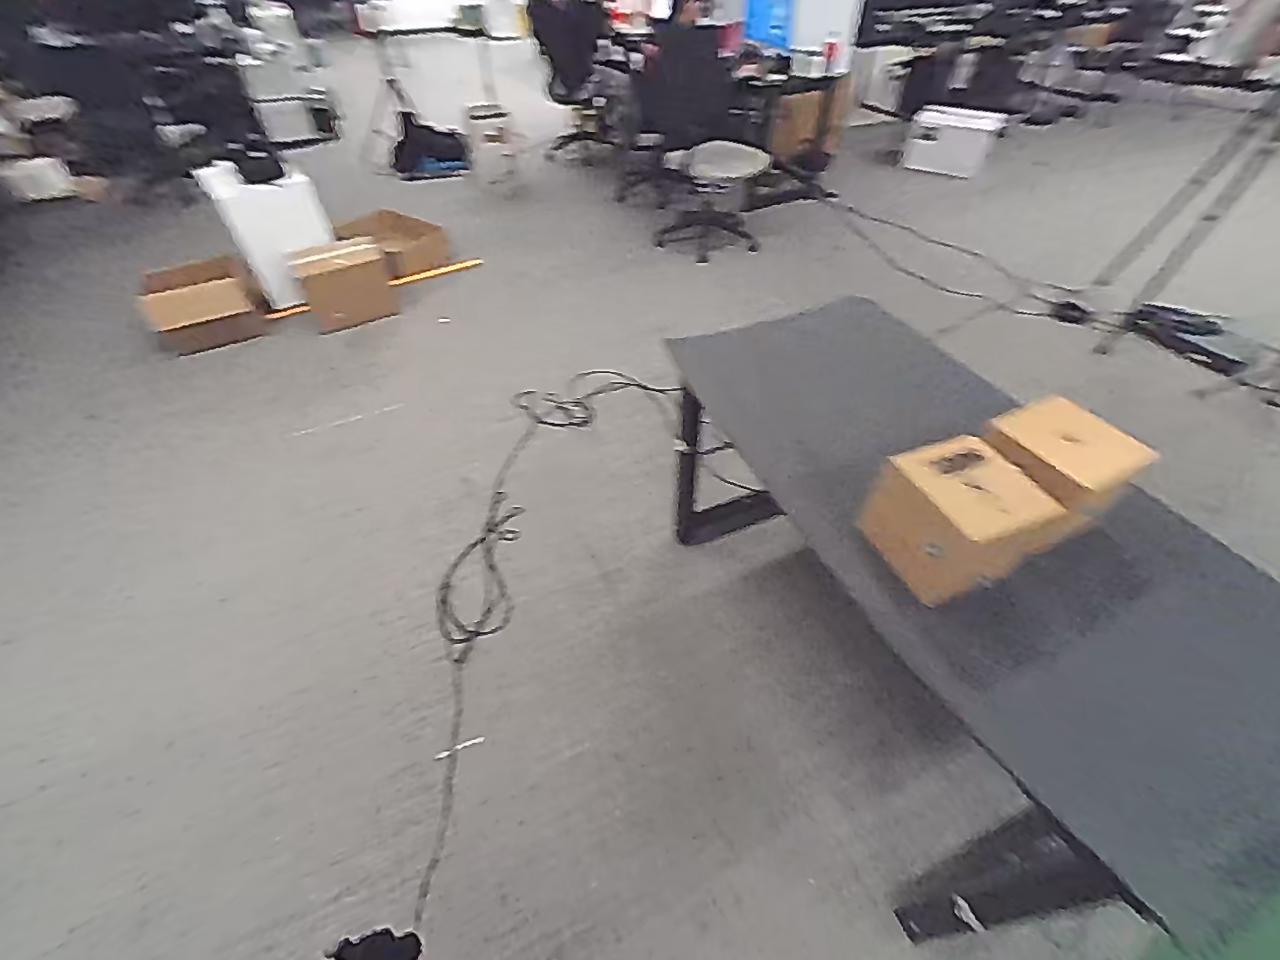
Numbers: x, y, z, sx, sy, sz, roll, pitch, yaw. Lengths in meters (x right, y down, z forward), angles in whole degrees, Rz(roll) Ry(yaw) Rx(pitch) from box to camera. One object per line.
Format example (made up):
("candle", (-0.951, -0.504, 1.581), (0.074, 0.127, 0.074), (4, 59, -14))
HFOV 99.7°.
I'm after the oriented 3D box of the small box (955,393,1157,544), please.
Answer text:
("small box", (0.688, -0.014, 0.917), (0.168, 0.176, 0.179), (-20, 49, -17))
